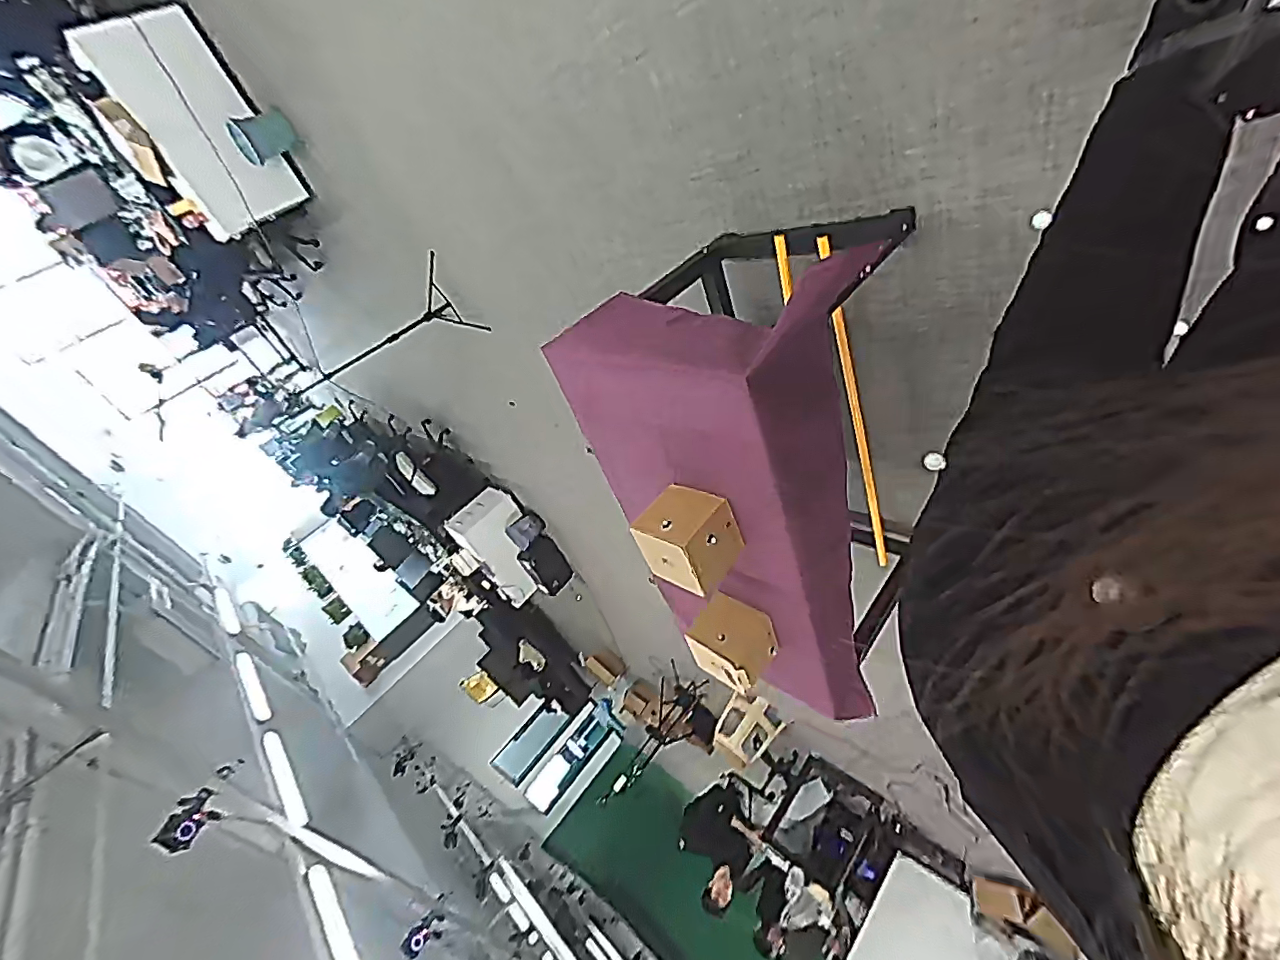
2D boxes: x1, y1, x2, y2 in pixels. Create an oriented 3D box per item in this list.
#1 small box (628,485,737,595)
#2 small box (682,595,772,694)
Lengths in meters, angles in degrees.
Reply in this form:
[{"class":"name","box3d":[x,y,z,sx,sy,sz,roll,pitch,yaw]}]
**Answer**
[{"class":"small box","box3d":[0.108,0.133,1.266,0.179,0.176,0.168,17,142,45]},{"class":"small box","box3d":[0.251,0.450,1.508,0.179,0.176,0.168,21,144,43]}]
